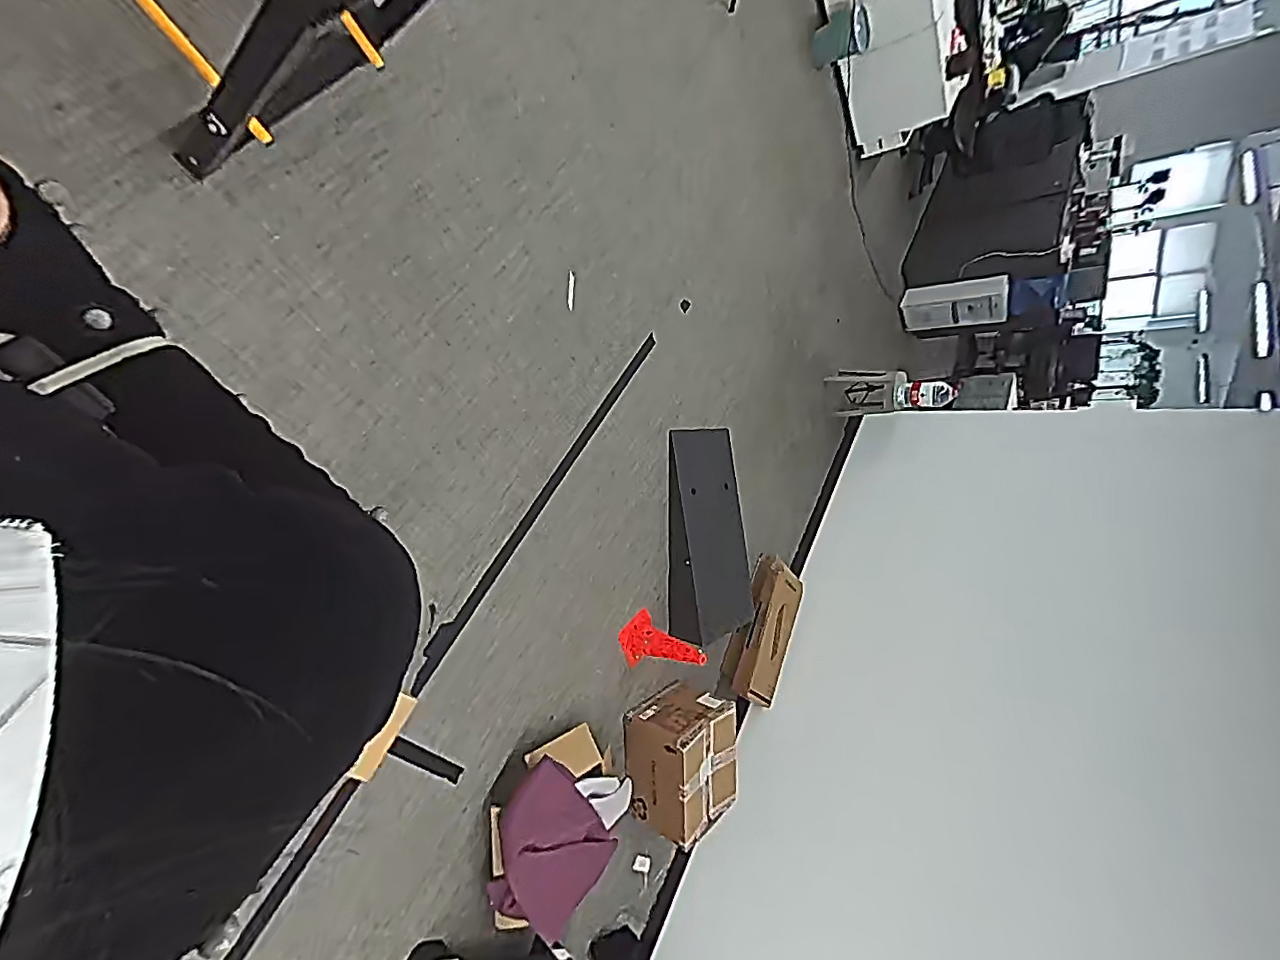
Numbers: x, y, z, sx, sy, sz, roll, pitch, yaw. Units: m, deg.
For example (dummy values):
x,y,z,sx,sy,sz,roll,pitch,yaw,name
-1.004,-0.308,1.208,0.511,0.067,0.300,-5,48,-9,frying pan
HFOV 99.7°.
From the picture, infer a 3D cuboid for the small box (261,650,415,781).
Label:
x,y,z,sx,sy,sz,roll,pitch,yaw,name
-0.596,0.460,1.072,0.179,0.176,0.168,51,56,-39,small box
